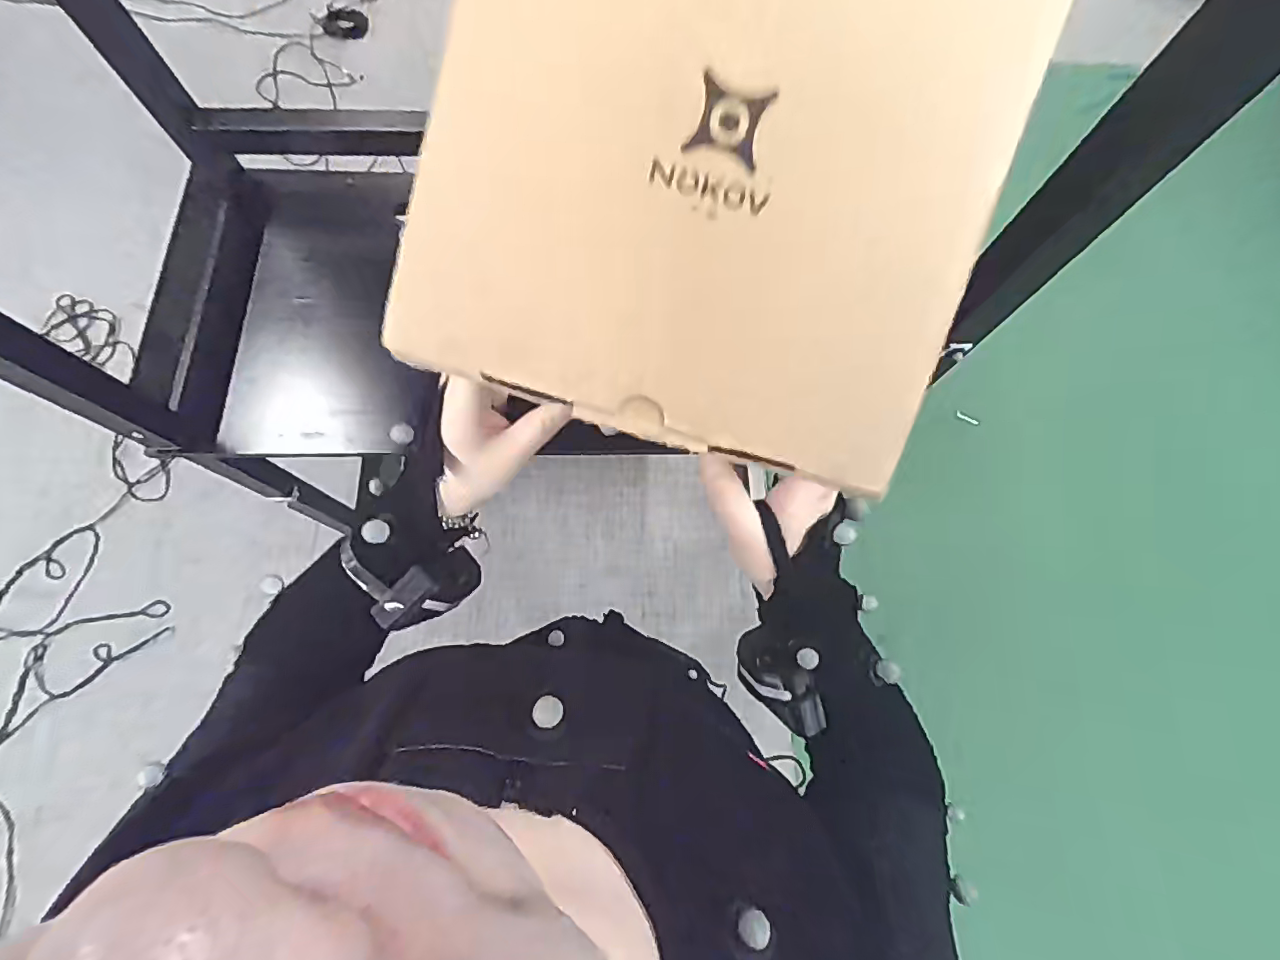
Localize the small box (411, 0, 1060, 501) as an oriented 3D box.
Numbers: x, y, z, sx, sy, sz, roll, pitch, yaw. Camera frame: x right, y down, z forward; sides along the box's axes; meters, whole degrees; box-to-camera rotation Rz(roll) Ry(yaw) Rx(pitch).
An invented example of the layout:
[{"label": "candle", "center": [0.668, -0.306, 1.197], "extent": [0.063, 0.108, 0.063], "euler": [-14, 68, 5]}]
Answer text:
[{"label": "small box", "center": [0.026, -0.109, 0.247], "extent": [0.168, 0.176, 0.179], "euler": [16, 99, -2]}]
